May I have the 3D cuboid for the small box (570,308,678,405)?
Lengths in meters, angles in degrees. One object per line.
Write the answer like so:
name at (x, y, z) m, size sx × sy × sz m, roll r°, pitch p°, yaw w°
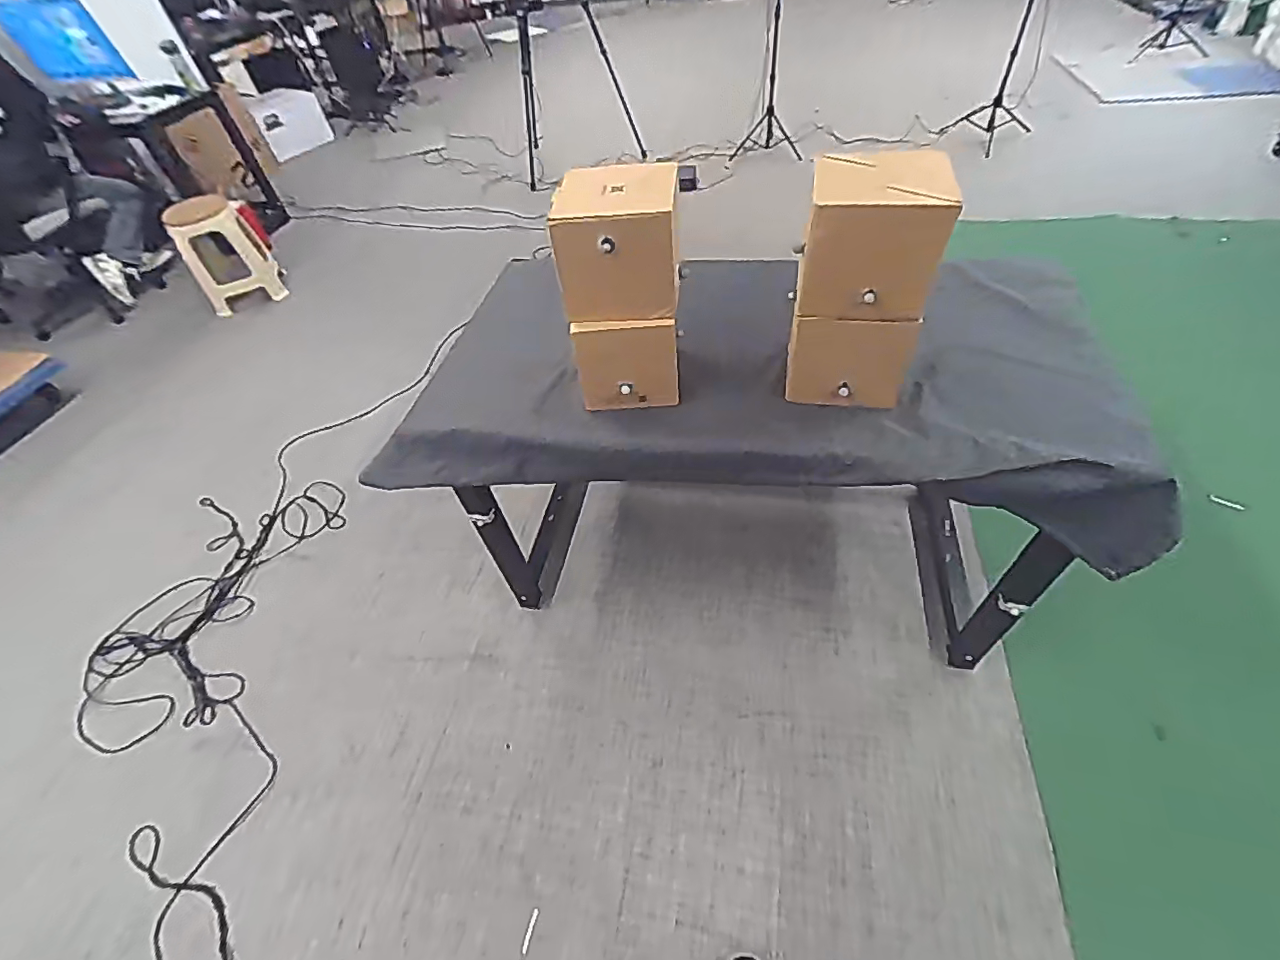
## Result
small box at (-0.020, -0.251, 0.944) m, size 0.168 × 0.176 × 0.179 m, roll -3°, pitch 50°, yaw 5°

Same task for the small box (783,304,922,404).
small box at (0.340, -0.243, 0.894) m, size 0.179 × 0.176 × 0.168 m, roll 6°, pitch 51°, yaw 11°

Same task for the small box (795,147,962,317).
small box at (0.323, -0.353, 0.768) m, size 0.179 × 0.176 × 0.168 m, roll 6°, pitch 51°, yaw 12°

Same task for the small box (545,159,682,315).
small box at (-0.029, -0.367, 0.830) m, size 0.179 × 0.176 × 0.168 m, roll 1°, pitch 51°, yaw 7°
